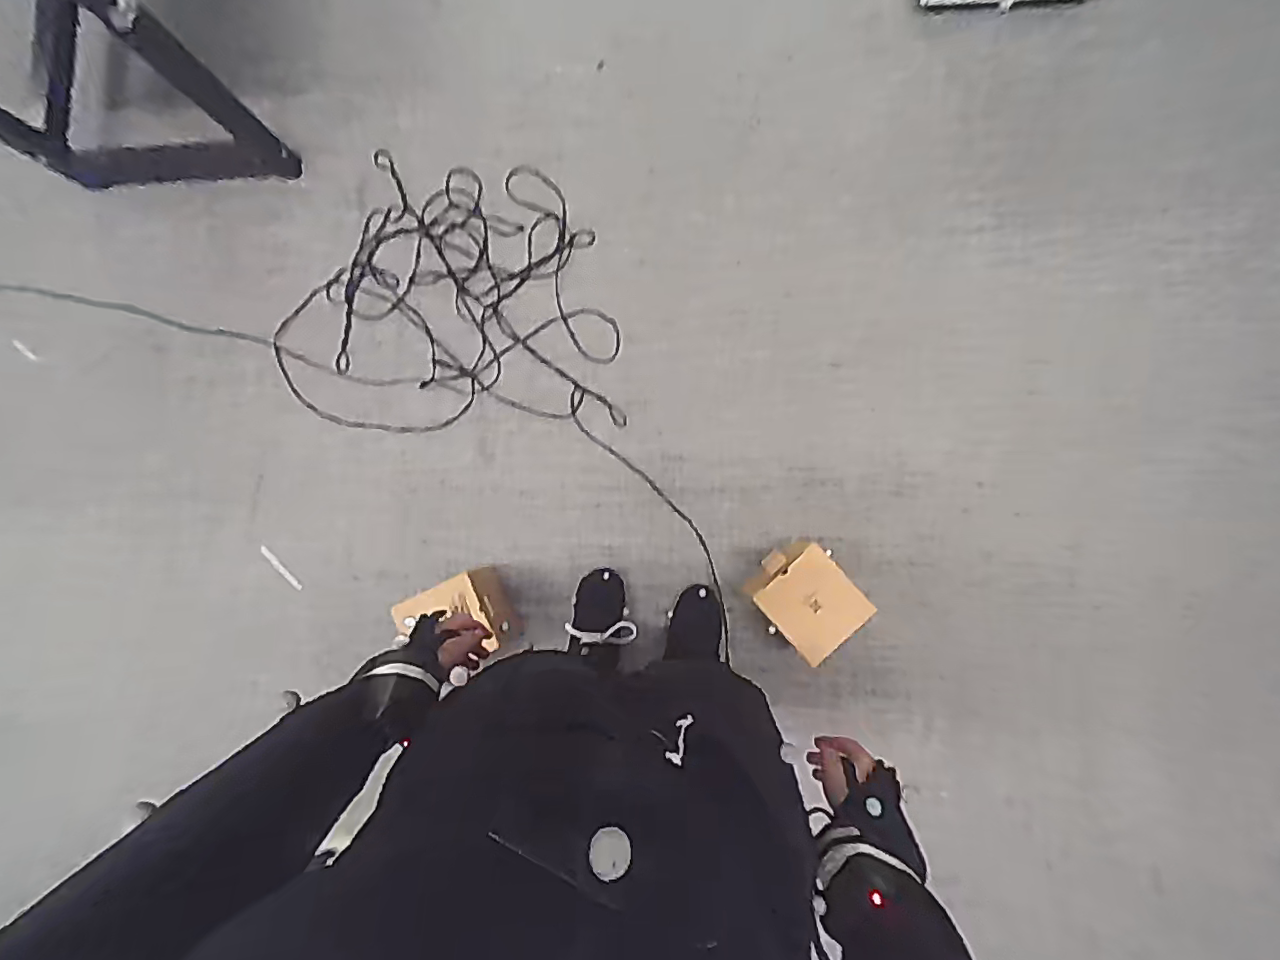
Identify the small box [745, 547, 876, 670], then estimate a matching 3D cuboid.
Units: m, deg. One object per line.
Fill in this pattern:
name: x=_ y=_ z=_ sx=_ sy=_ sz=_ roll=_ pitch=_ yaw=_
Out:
small box: x=0.339 y=0.251 z=1.111 sx=0.168 sy=0.176 sz=0.179 roll=-41 pitch=84 yaw=0
